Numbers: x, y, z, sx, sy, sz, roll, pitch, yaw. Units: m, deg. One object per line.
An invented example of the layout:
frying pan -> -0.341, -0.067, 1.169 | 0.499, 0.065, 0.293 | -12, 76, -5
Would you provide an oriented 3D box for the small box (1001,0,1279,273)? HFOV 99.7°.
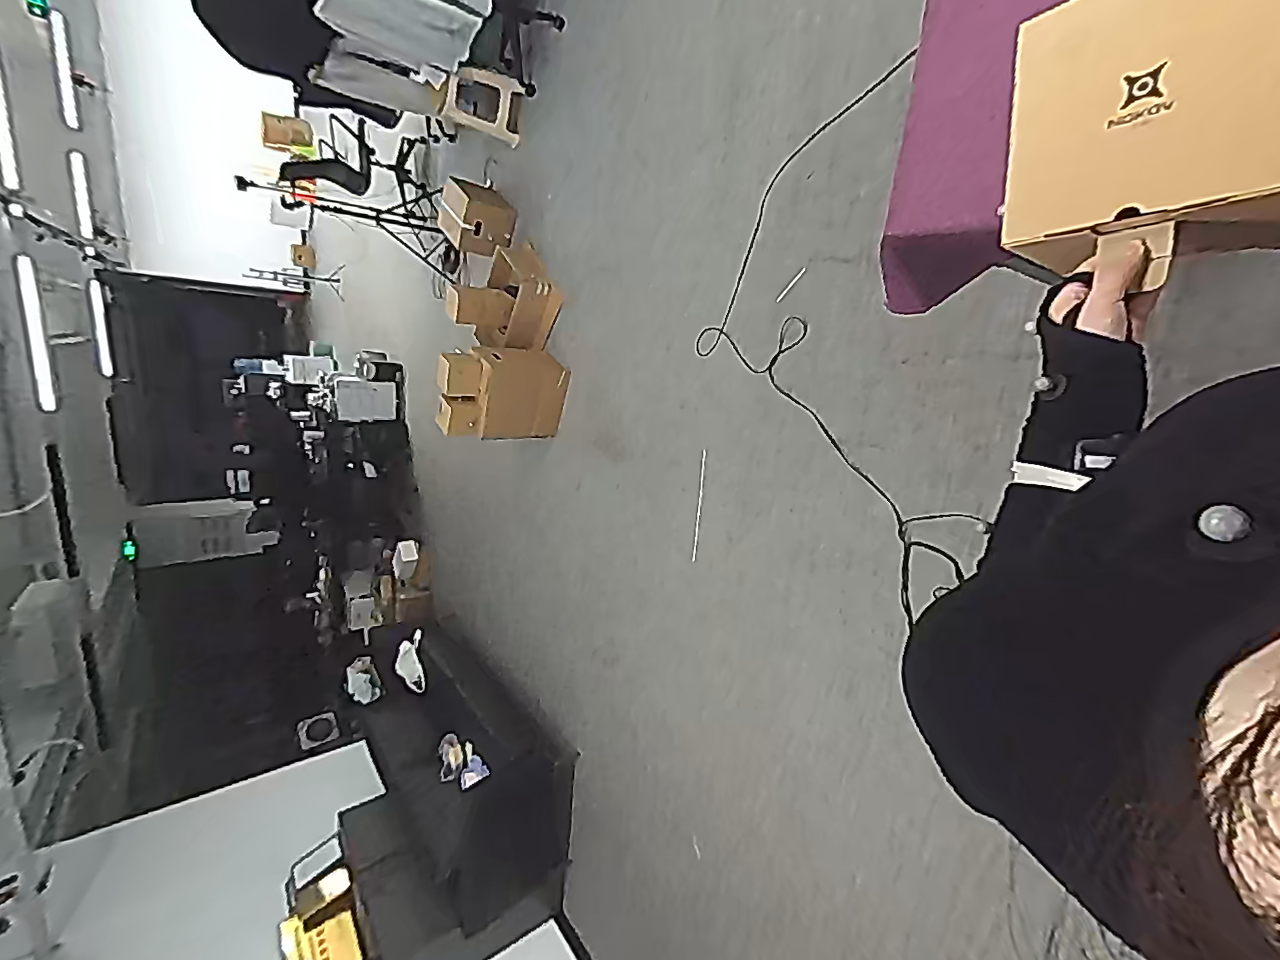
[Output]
small box -> 0.434, -0.289, 0.454 | 0.168, 0.176, 0.179 | 10, 103, 52
